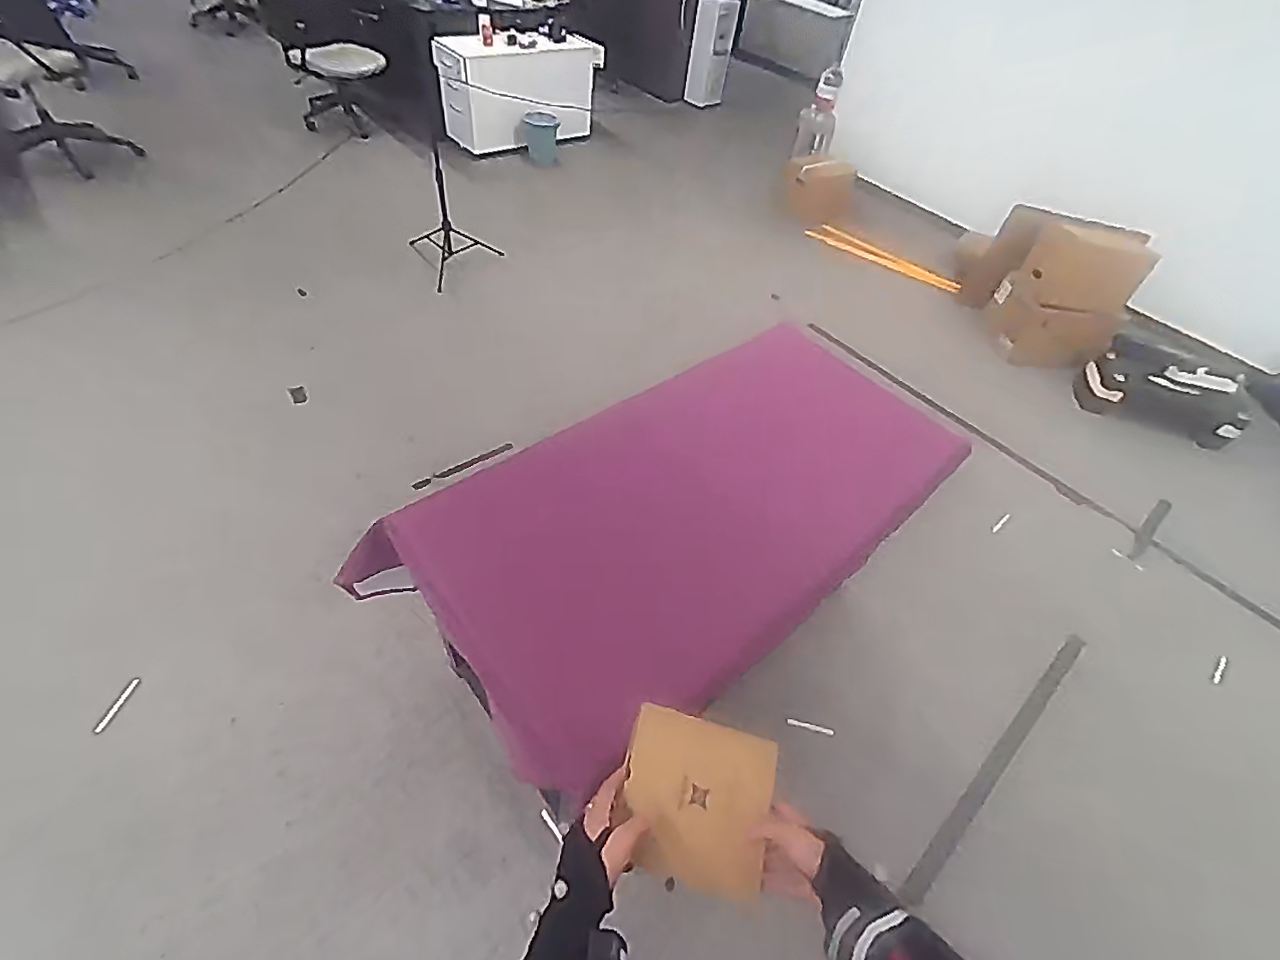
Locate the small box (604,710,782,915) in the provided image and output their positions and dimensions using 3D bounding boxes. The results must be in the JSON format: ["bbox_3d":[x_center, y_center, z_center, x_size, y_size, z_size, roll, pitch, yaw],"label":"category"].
[{"bbox_3d":[0.063,0.414,0.685,0.179,0.176,0.168,15,59,7],"label":"small box"}]
